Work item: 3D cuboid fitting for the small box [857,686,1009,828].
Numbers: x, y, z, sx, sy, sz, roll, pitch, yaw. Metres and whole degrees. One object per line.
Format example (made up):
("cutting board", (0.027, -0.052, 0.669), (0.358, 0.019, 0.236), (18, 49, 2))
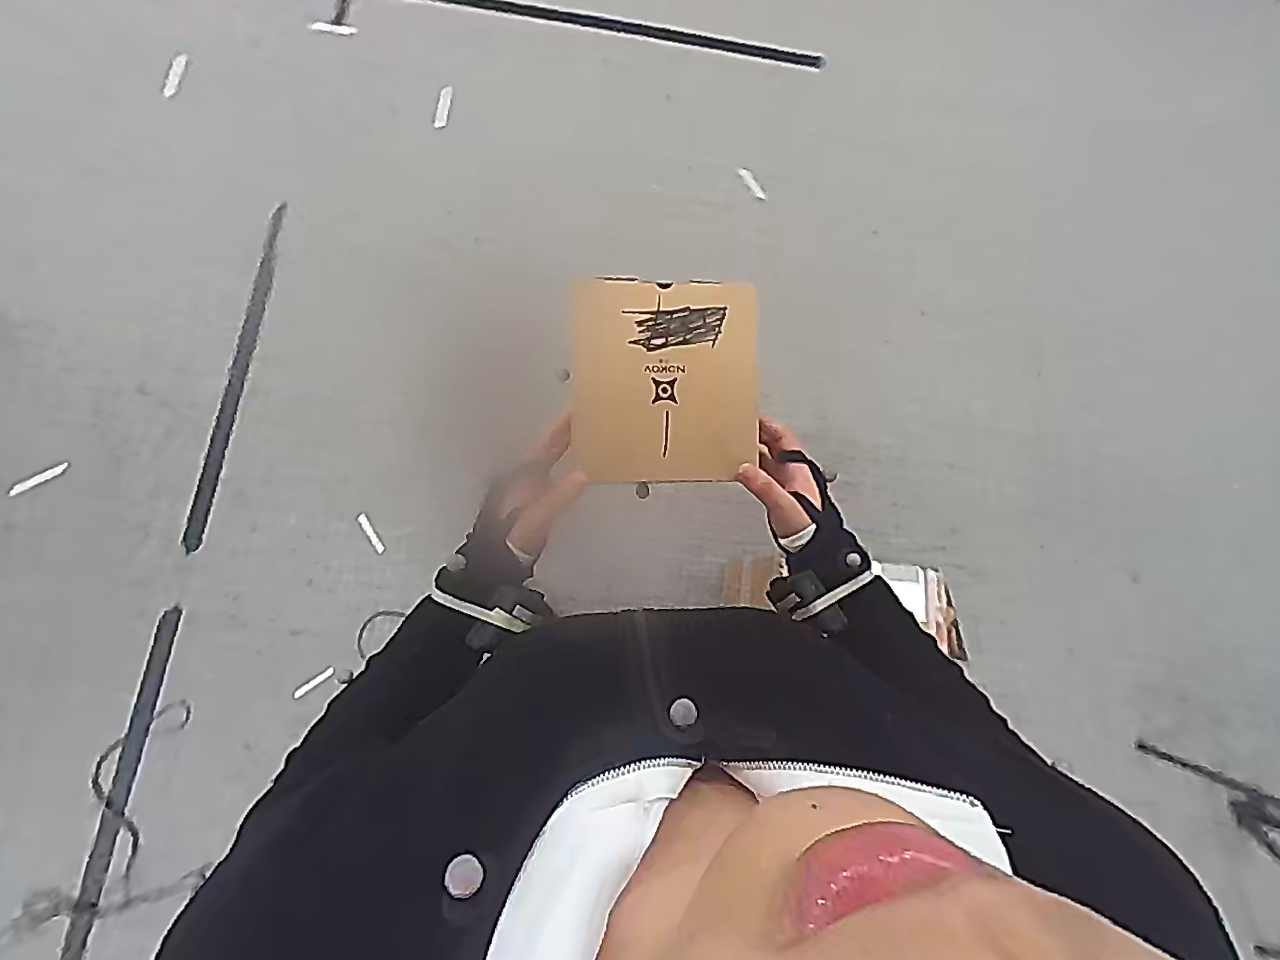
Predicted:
("small box", (0.487, 0.457, 0.919), (0.179, 0.176, 0.168), (7, 81, -1))
